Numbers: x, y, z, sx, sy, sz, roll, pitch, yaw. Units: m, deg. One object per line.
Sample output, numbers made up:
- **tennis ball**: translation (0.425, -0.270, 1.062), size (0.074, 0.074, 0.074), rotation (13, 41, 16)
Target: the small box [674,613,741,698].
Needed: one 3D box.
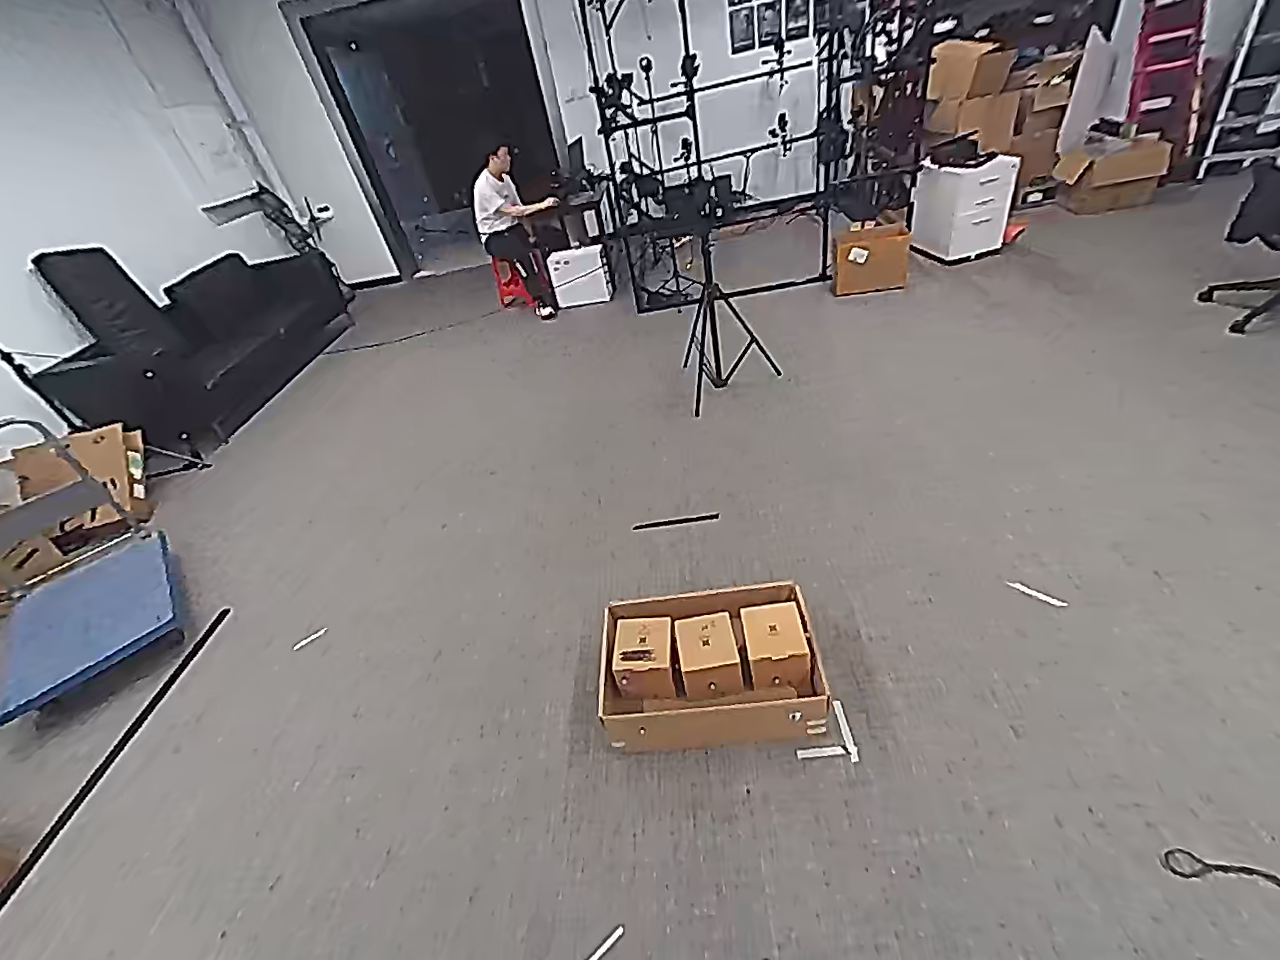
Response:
- **small box**: translation (0.200, 0.526, 1.601), size (0.168, 0.176, 0.179), rotation (-10, 37, 2)

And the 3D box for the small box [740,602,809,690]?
- **small box**: translation (0.393, 0.489, 1.590), size (0.168, 0.176, 0.179), rotation (-10, 38, 7)
